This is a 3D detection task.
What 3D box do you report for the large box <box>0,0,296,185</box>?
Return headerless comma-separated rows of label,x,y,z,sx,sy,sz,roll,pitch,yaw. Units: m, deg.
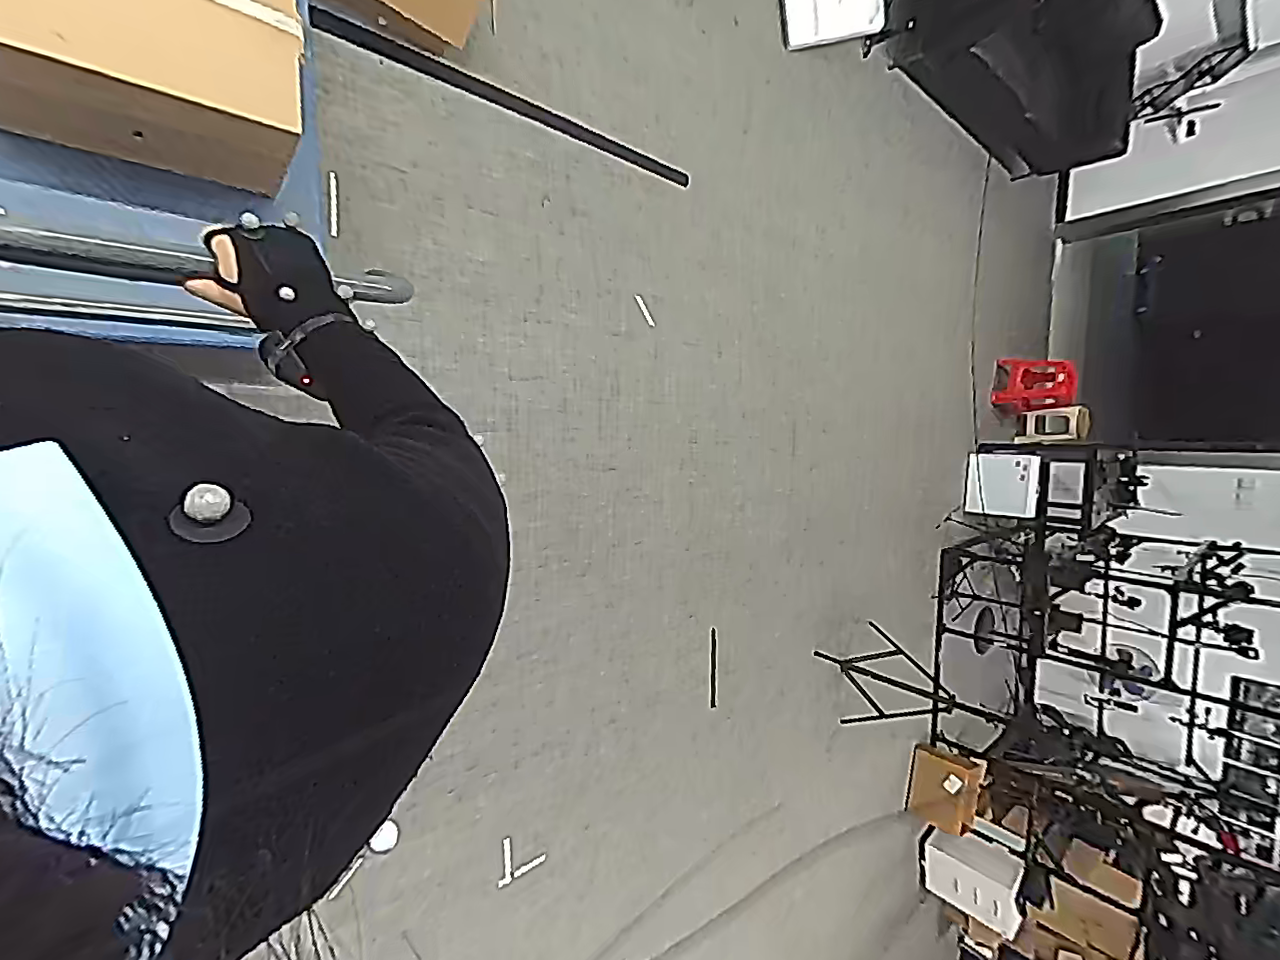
large box,-0.805,-0.718,0.848,0.408,0.320,0.320,-5,96,-40
